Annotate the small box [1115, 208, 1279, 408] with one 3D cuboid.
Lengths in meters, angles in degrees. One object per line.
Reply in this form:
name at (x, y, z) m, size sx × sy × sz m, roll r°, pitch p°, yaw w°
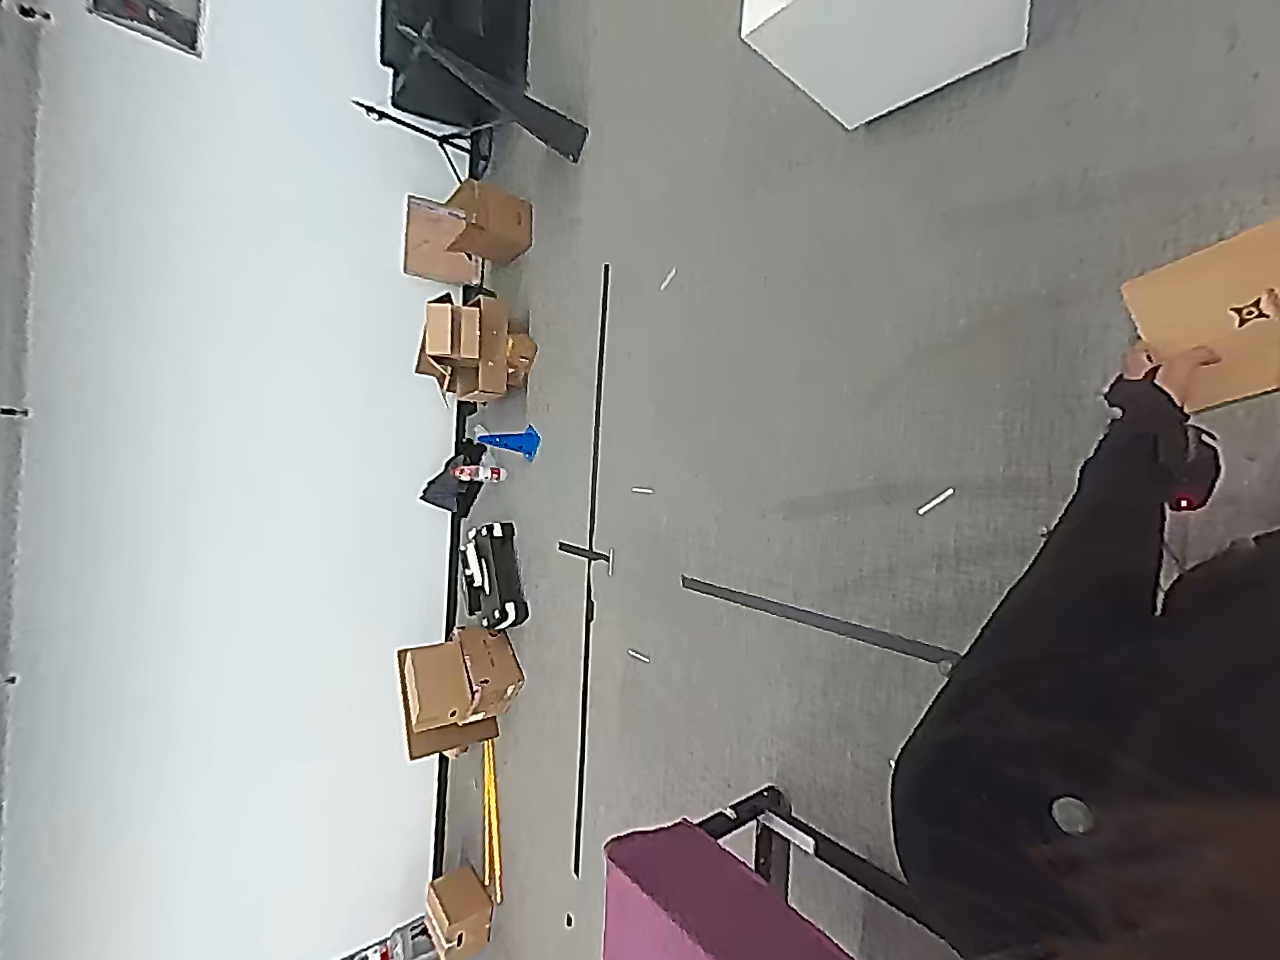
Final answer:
small box at (0.686, -0.186, 0.610) m, size 0.179 × 0.176 × 0.168 m, roll -24°, pitch 77°, yaw 45°
